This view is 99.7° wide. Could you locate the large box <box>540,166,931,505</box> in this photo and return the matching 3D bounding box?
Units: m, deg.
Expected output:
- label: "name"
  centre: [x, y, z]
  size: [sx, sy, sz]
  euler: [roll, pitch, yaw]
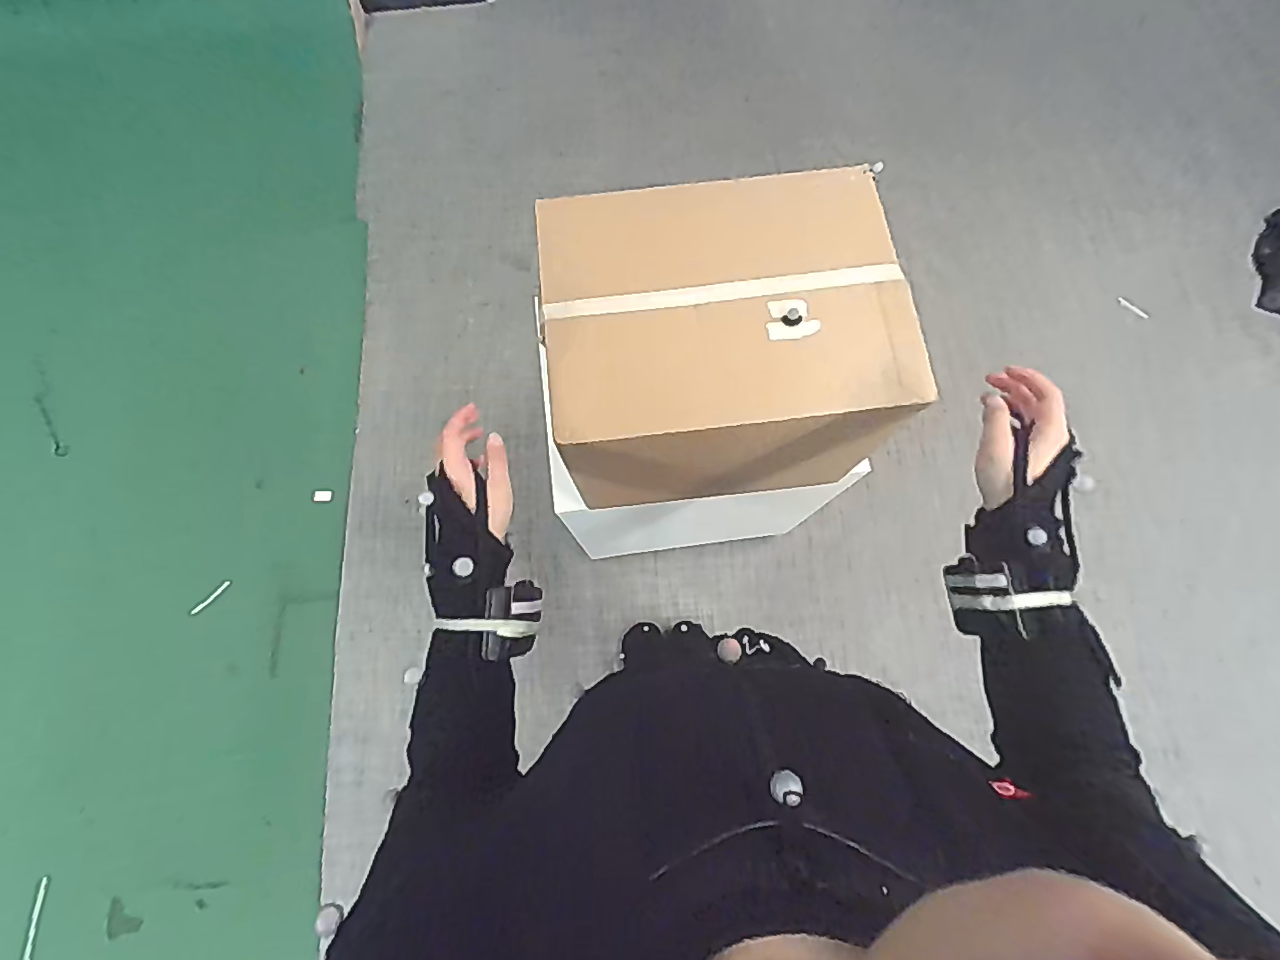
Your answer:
- label: "large box"
  centre: [0.095, -0.171, 0.750]
  size: [0.408, 0.320, 0.320]
  euler: [-7, 74, -2]
